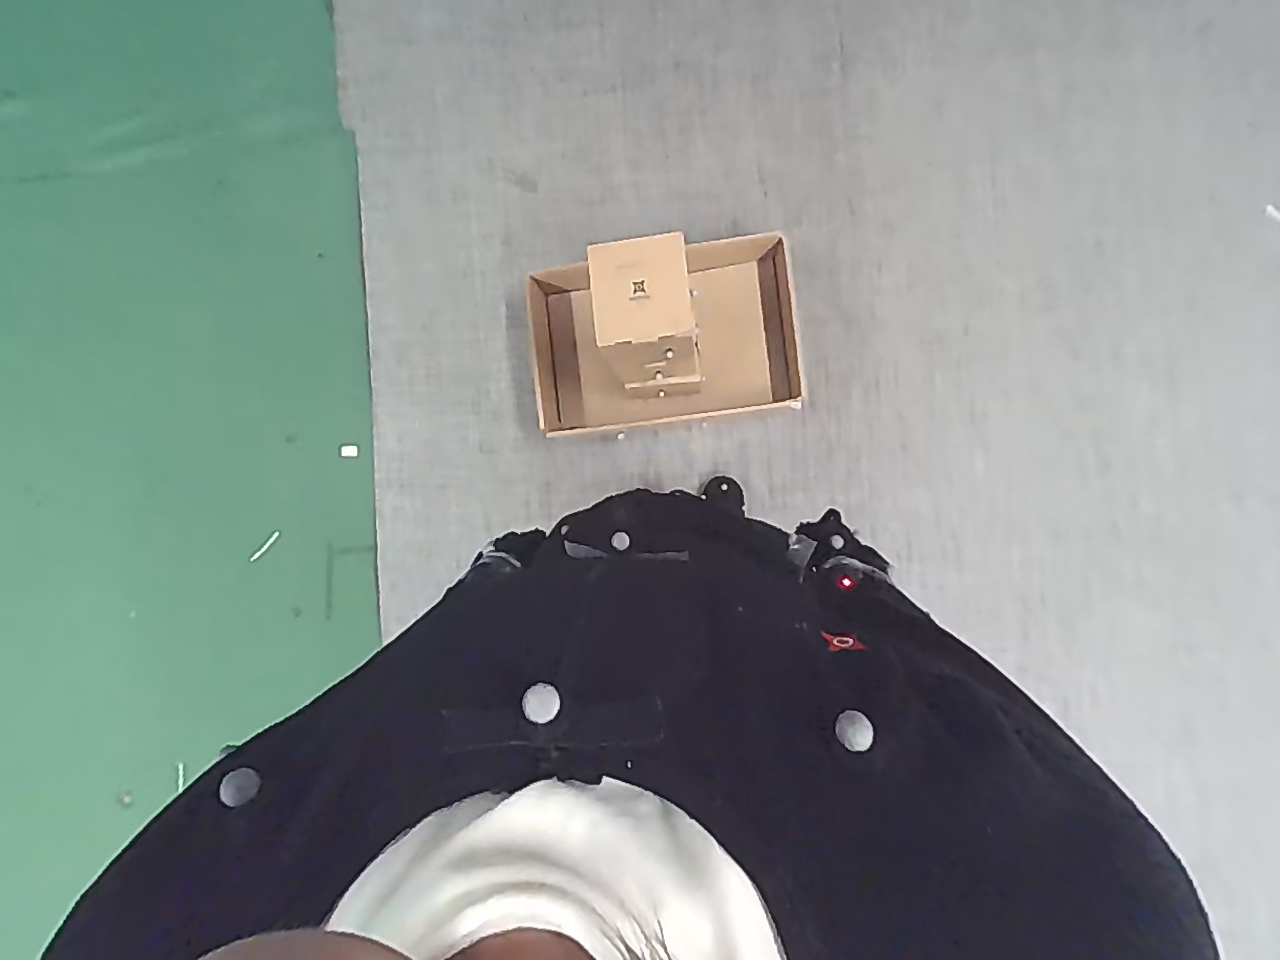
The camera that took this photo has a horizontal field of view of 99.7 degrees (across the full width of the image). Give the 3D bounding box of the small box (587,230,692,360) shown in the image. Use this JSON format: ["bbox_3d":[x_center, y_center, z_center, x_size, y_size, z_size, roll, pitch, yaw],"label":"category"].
[{"bbox_3d":[0.006,-0.325,0.989,0.168,0.176,0.179,-6,88,6],"label":"small box"}]

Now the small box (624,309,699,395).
[{"bbox_3d":[0.055,-0.307,1.327,0.179,0.176,0.168,-3,88,8],"label":"small box"}]

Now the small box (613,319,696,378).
[{"bbox_3d":[0.028,-0.325,1.170,0.168,0.176,0.179,-8,88,8],"label":"small box"}]
